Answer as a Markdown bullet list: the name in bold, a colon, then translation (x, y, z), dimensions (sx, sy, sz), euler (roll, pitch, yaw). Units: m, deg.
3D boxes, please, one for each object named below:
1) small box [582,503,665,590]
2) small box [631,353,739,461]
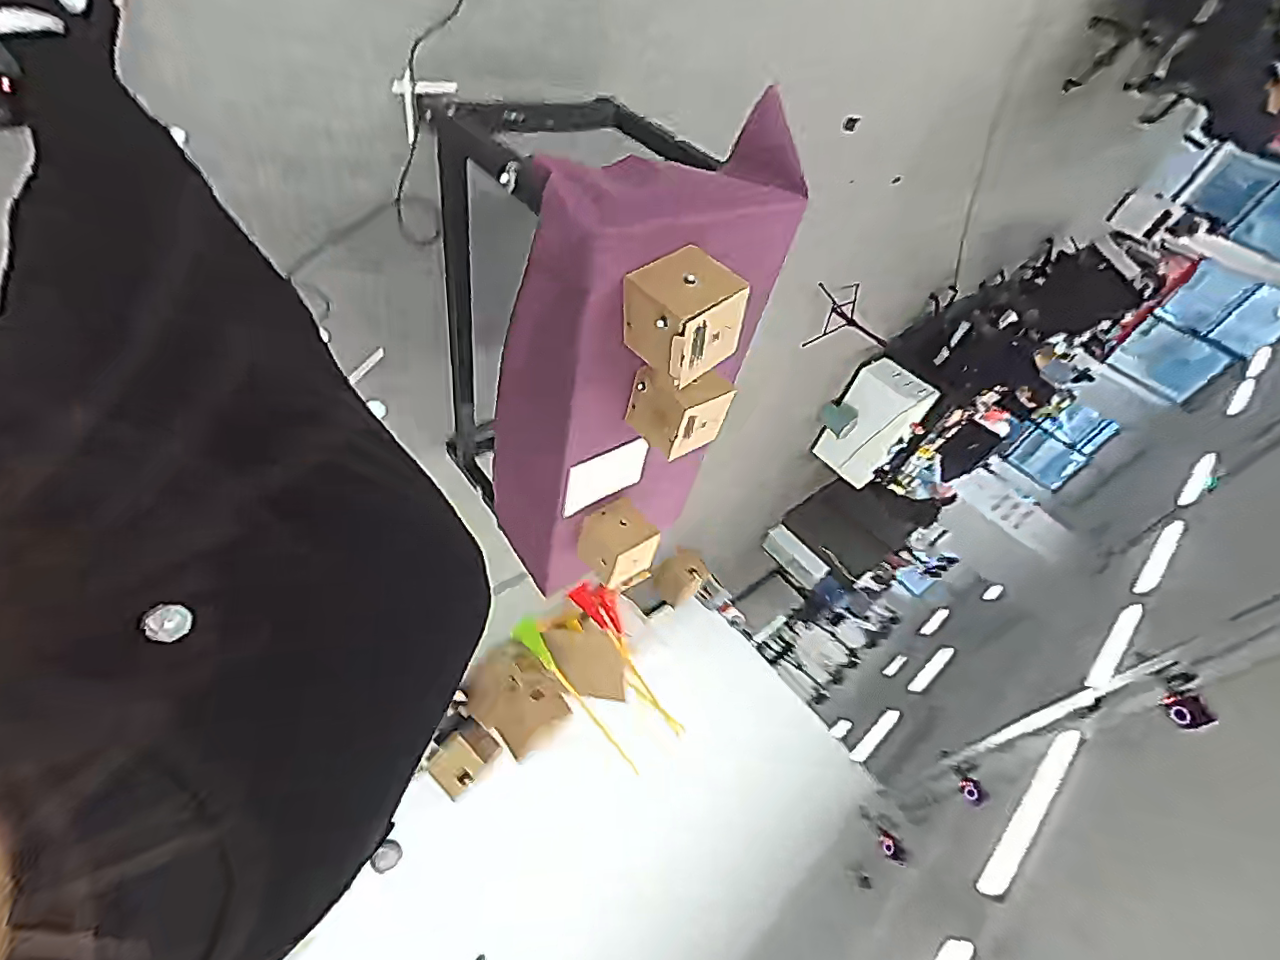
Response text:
- **small box**: translation (-0.056, 0.190, 1.626), dimensions (0.168, 0.176, 0.179), euler (-25, 148, -35)
- **small box**: translation (0.101, -0.182, 1.308), dimensions (0.179, 0.176, 0.168), euler (-27, 149, -34)
